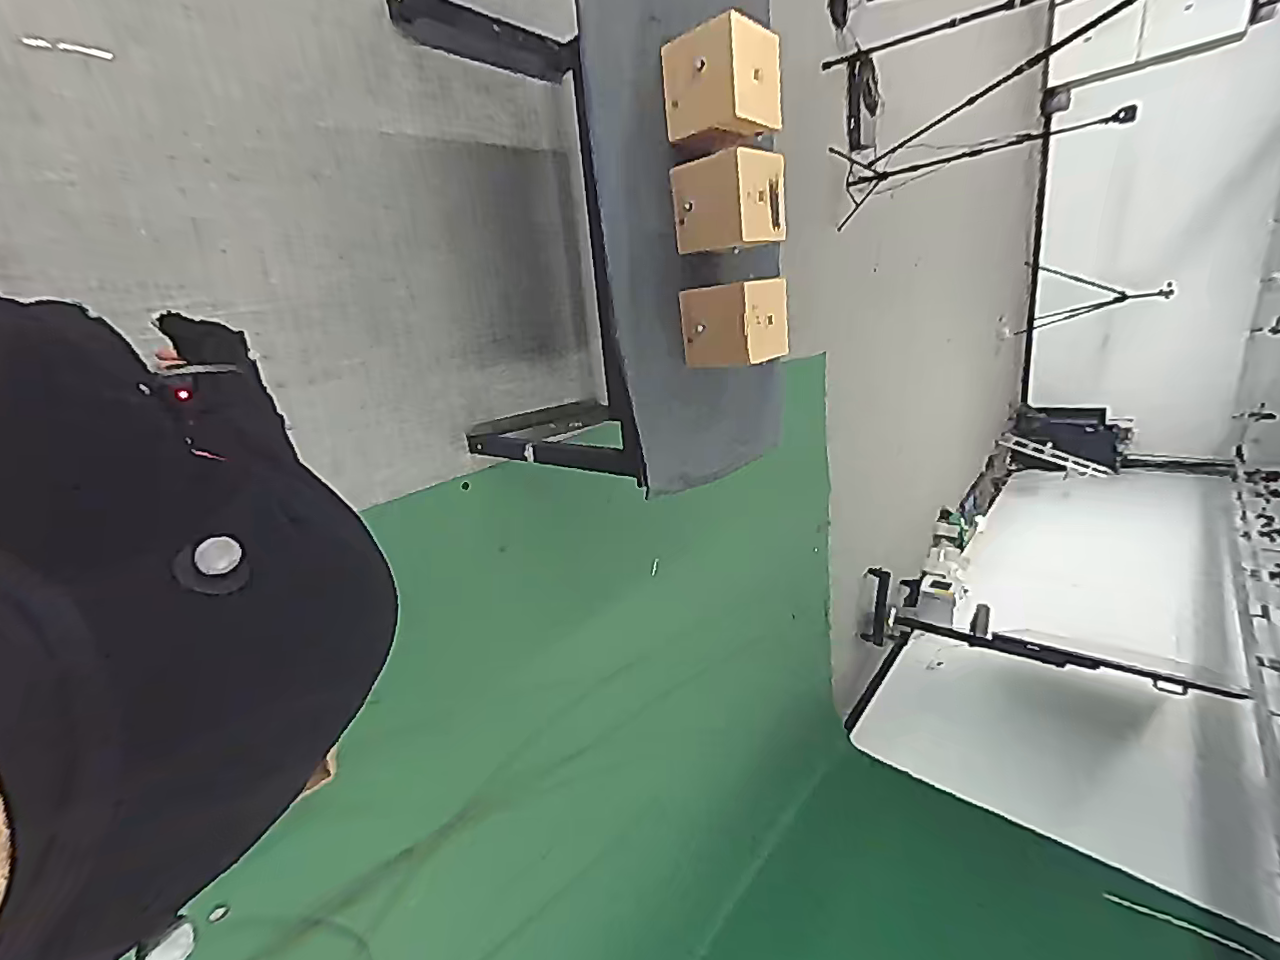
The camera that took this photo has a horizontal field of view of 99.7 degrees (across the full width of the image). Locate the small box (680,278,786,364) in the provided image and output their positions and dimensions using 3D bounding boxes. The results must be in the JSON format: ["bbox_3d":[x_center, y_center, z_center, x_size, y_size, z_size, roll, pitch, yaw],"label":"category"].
[{"bbox_3d":[0.209,-0.353,1.206,0.179,0.176,0.168,-24,114,-43],"label":"small box"}]
